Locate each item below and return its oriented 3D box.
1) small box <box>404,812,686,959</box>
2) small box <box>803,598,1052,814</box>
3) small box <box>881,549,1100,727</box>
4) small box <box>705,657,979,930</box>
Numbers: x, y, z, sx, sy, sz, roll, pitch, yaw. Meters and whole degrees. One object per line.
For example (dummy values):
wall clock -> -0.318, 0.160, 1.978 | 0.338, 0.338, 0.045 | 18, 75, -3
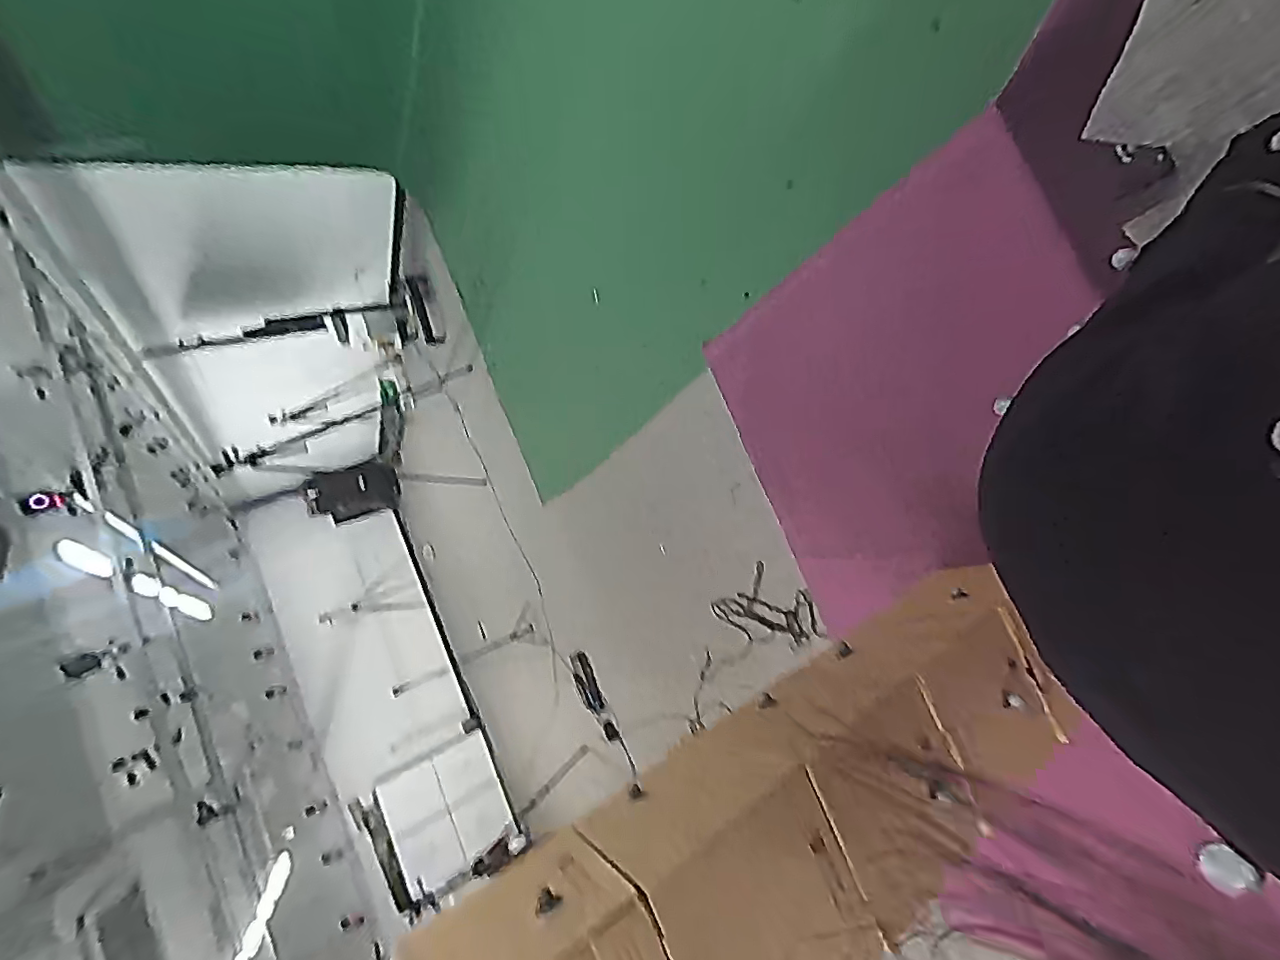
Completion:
small box -> -0.059, 0.399, 0.406 | 0.168, 0.176, 0.179 | -32, 79, 59
small box -> 0.339, 0.253, 0.650 | 0.179, 0.176, 0.168 | -30, 81, 58
small box -> 0.474, 0.203, 0.729 | 0.179, 0.176, 0.168 | -30, 81, 59
small box -> 0.206, 0.300, 0.569 | 0.179, 0.176, 0.168 | -30, 81, 58
